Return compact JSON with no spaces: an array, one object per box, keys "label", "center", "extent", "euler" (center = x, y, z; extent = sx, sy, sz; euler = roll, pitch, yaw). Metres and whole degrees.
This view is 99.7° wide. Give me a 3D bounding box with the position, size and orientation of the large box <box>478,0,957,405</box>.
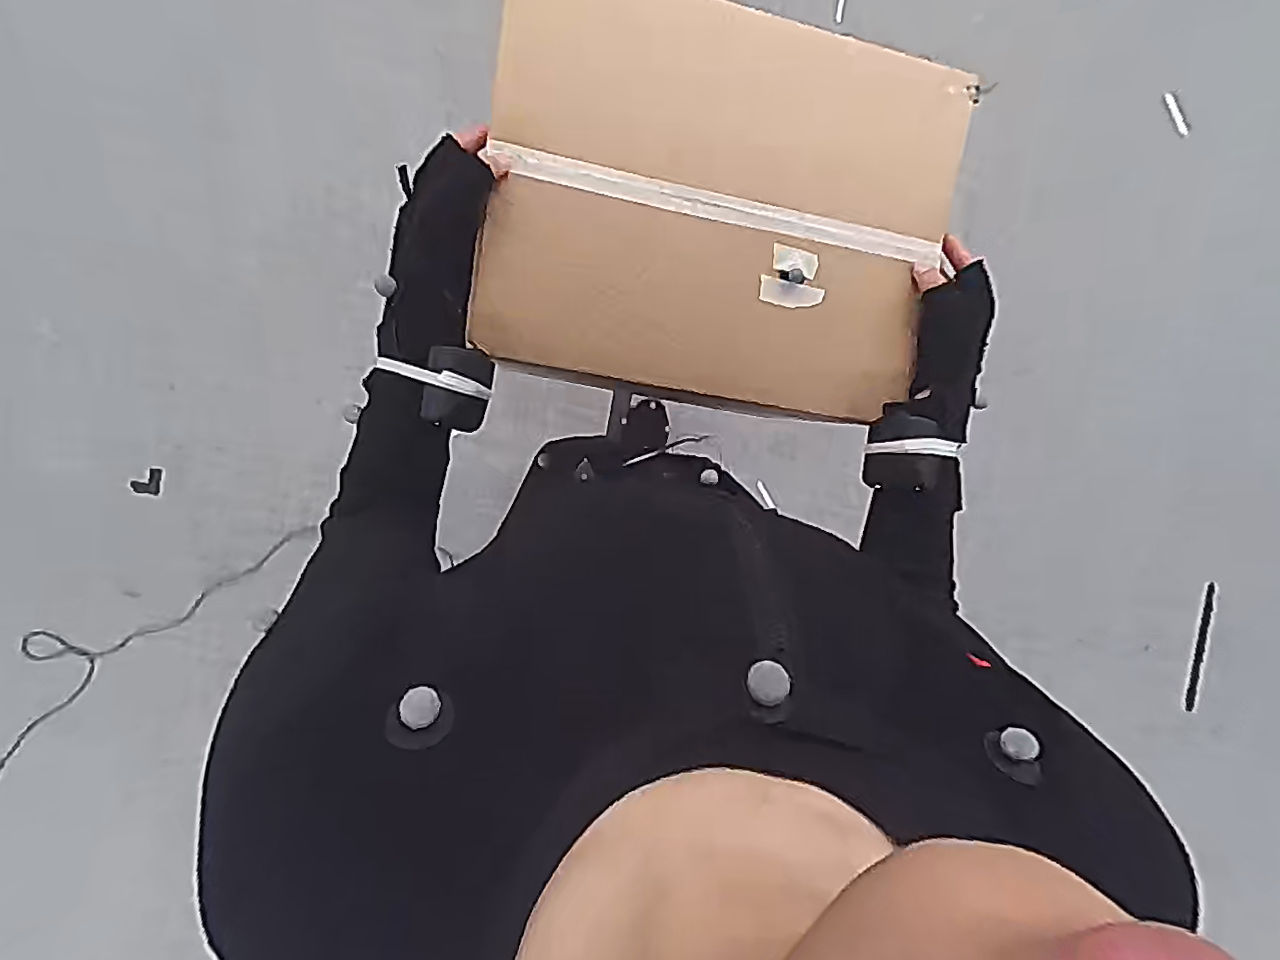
[{"label":"large box","center":[0.050,-0.267,0.620],"extent":[0.408,0.320,0.320],"euler":[8,99,-10]}]
